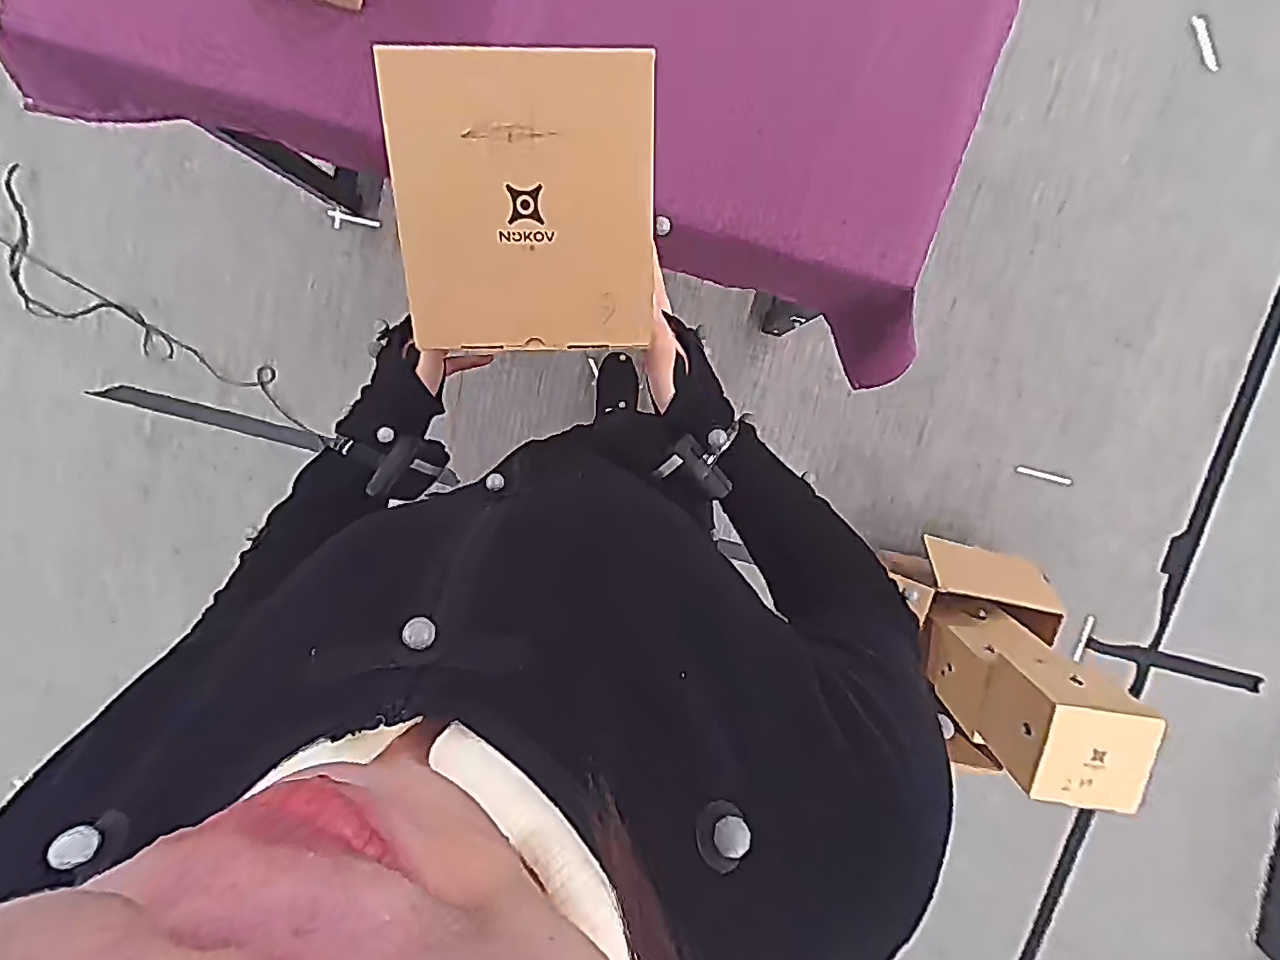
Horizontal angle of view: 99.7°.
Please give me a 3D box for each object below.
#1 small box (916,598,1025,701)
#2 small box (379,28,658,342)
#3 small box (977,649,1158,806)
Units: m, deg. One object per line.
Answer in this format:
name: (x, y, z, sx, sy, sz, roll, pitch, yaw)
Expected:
small box: (0.765, 0.387, 1.269, 0.168, 0.176, 0.179, -6, 102, 5)
small box: (-0.074, -0.207, 0.419, 0.168, 0.176, 0.179, 0, 110, -3)
small box: (0.725, 0.419, 0.942, 0.168, 0.176, 0.179, 8, 102, 4)
